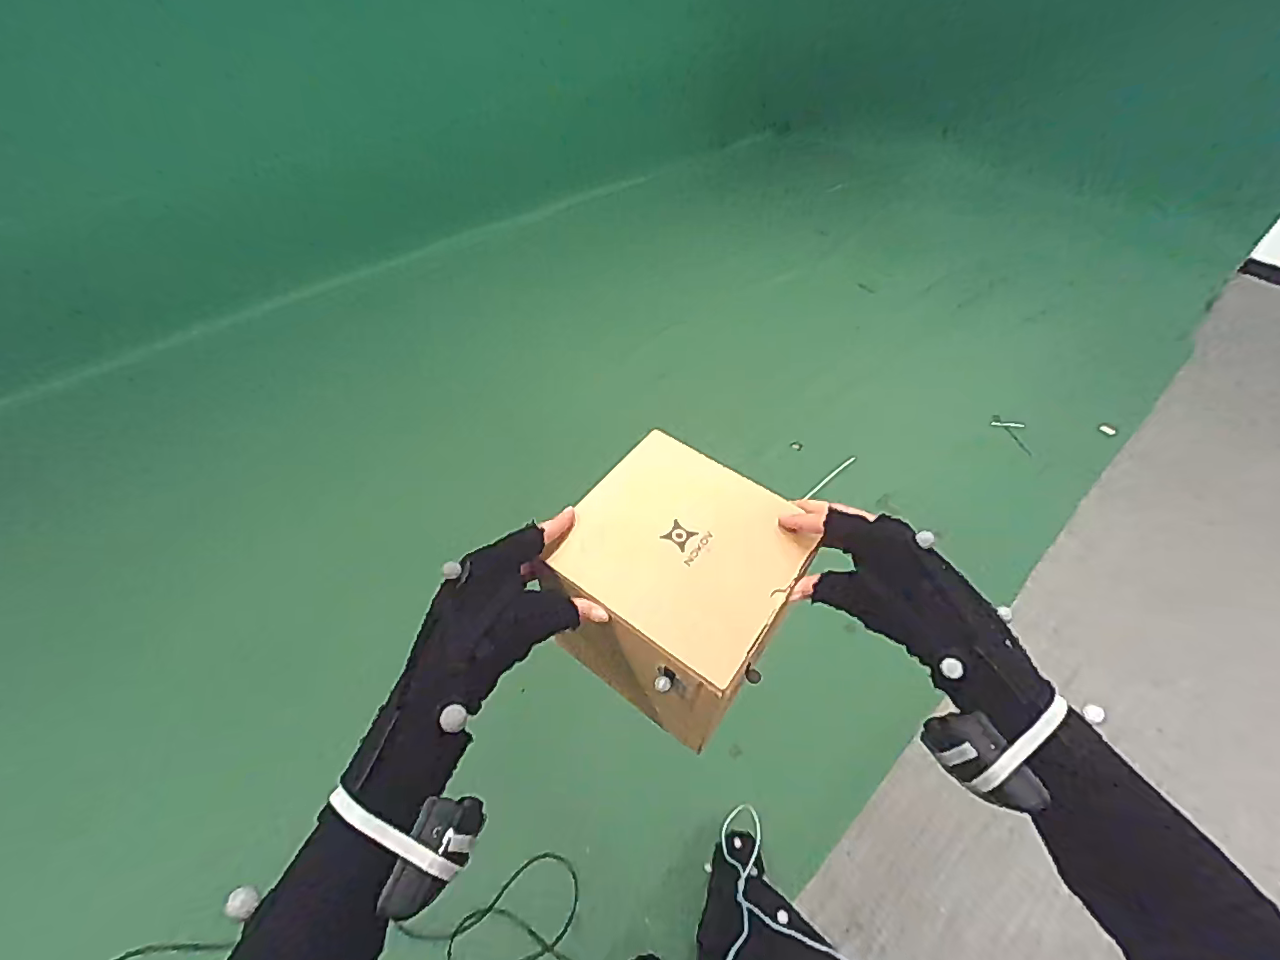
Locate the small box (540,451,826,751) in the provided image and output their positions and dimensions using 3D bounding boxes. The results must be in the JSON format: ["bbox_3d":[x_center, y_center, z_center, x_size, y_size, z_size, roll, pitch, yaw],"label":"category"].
[{"bbox_3d":[0.033,0.112,0.492,0.179,0.176,0.168,31,55,21],"label":"small box"}]
